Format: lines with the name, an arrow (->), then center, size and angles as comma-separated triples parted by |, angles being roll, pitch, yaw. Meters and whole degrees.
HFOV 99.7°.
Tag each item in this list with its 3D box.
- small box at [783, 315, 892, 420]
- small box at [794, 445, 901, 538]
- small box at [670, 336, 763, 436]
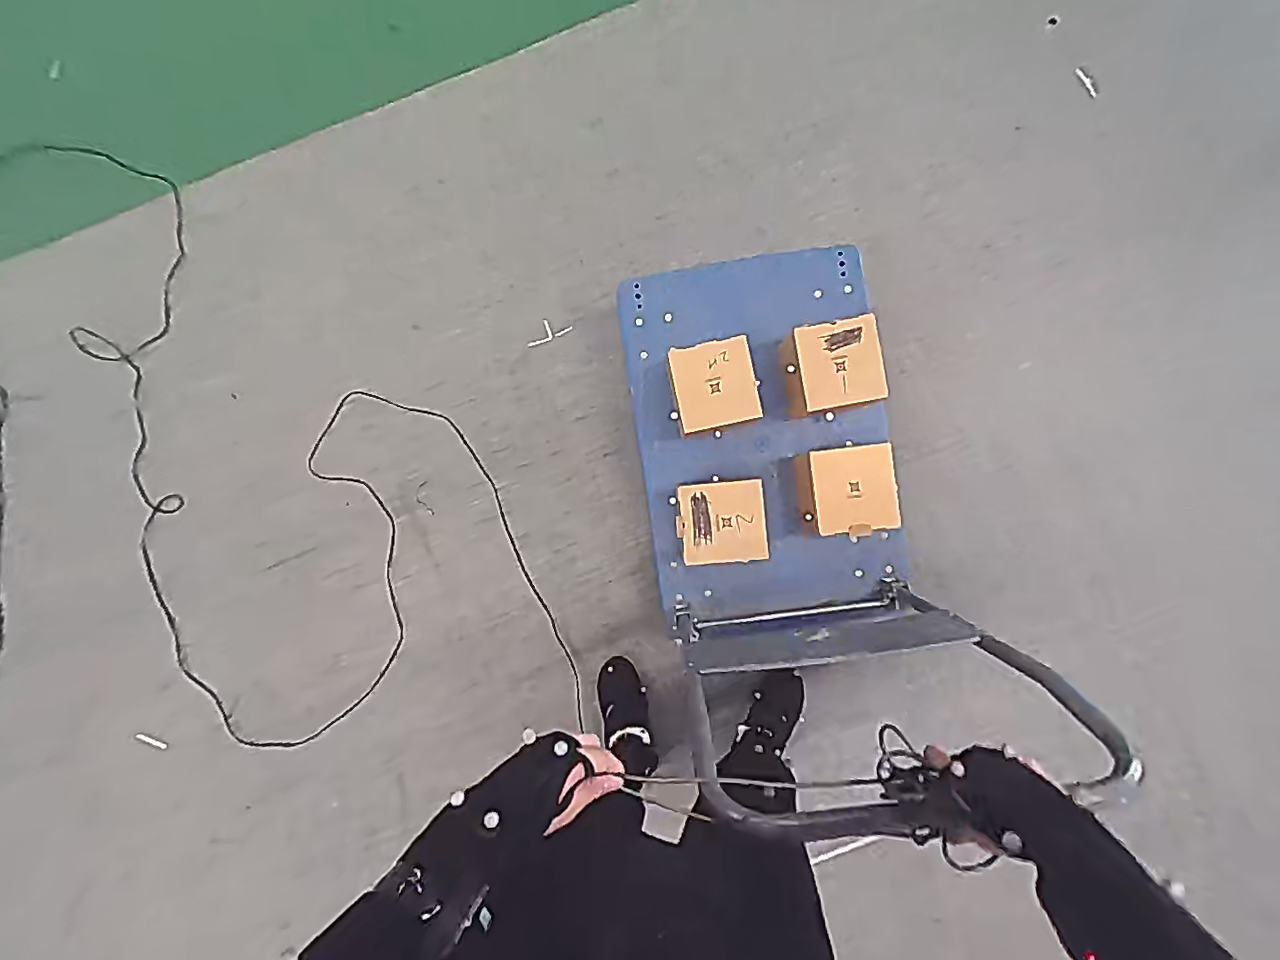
small box -> 0.414, -0.233, 1.160 | 0.168, 0.176, 0.179 | -9, 91, 3
small box -> 0.437, 0.024, 1.163 | 0.168, 0.176, 0.179 | -6, 91, 3
small box -> 0.160, -0.194, 1.174 | 0.168, 0.176, 0.179 | -11, 90, 2
